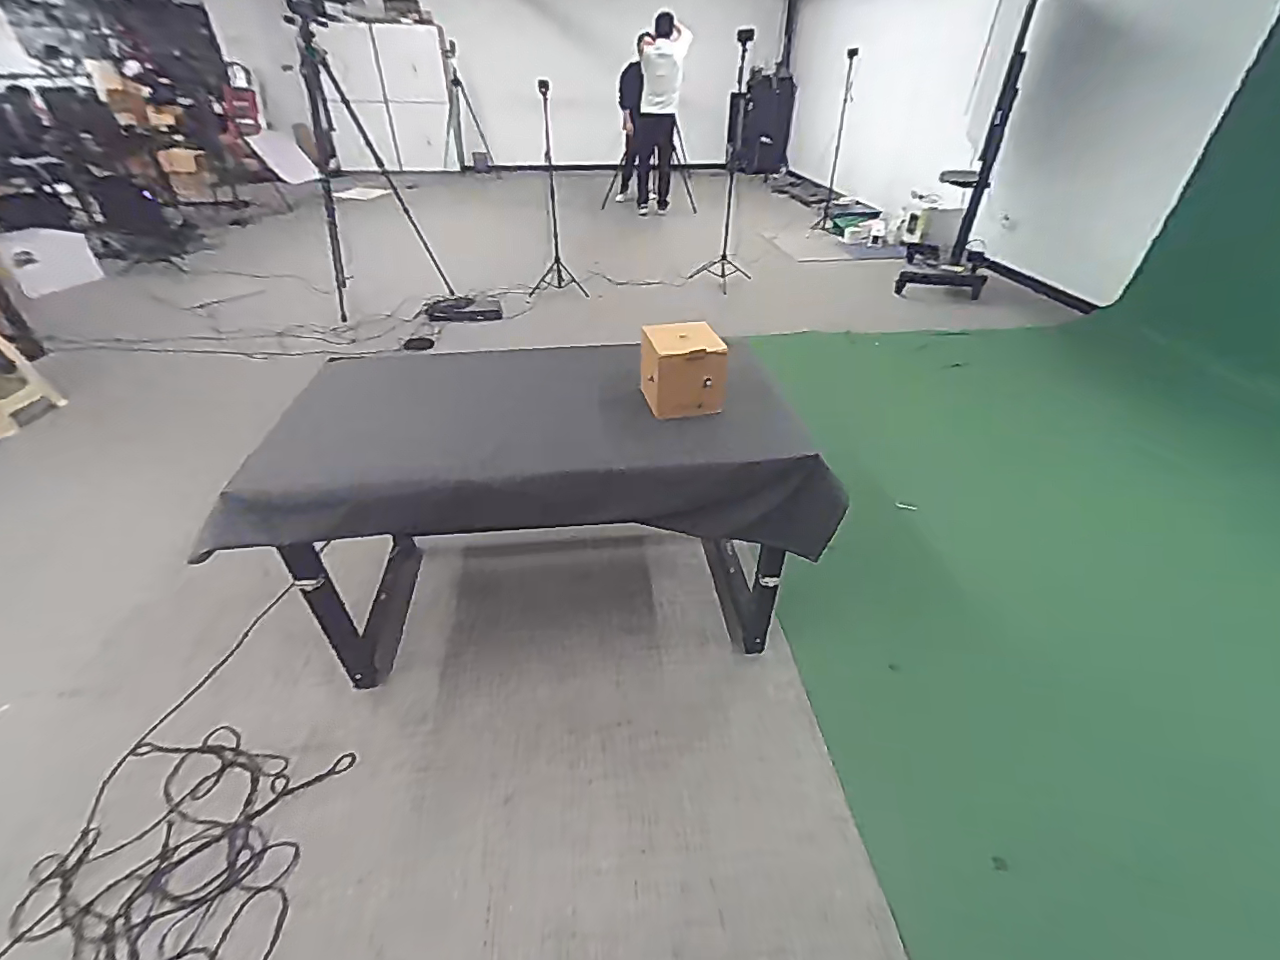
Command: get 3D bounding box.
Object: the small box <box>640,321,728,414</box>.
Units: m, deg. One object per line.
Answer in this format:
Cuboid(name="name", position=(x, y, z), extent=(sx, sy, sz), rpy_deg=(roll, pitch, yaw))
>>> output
Cuboid(name="small box", position=(0.099, -0.268, 1.300), extent=(0.168, 0.176, 0.179), rpy_deg=(-7, 37, -12))
